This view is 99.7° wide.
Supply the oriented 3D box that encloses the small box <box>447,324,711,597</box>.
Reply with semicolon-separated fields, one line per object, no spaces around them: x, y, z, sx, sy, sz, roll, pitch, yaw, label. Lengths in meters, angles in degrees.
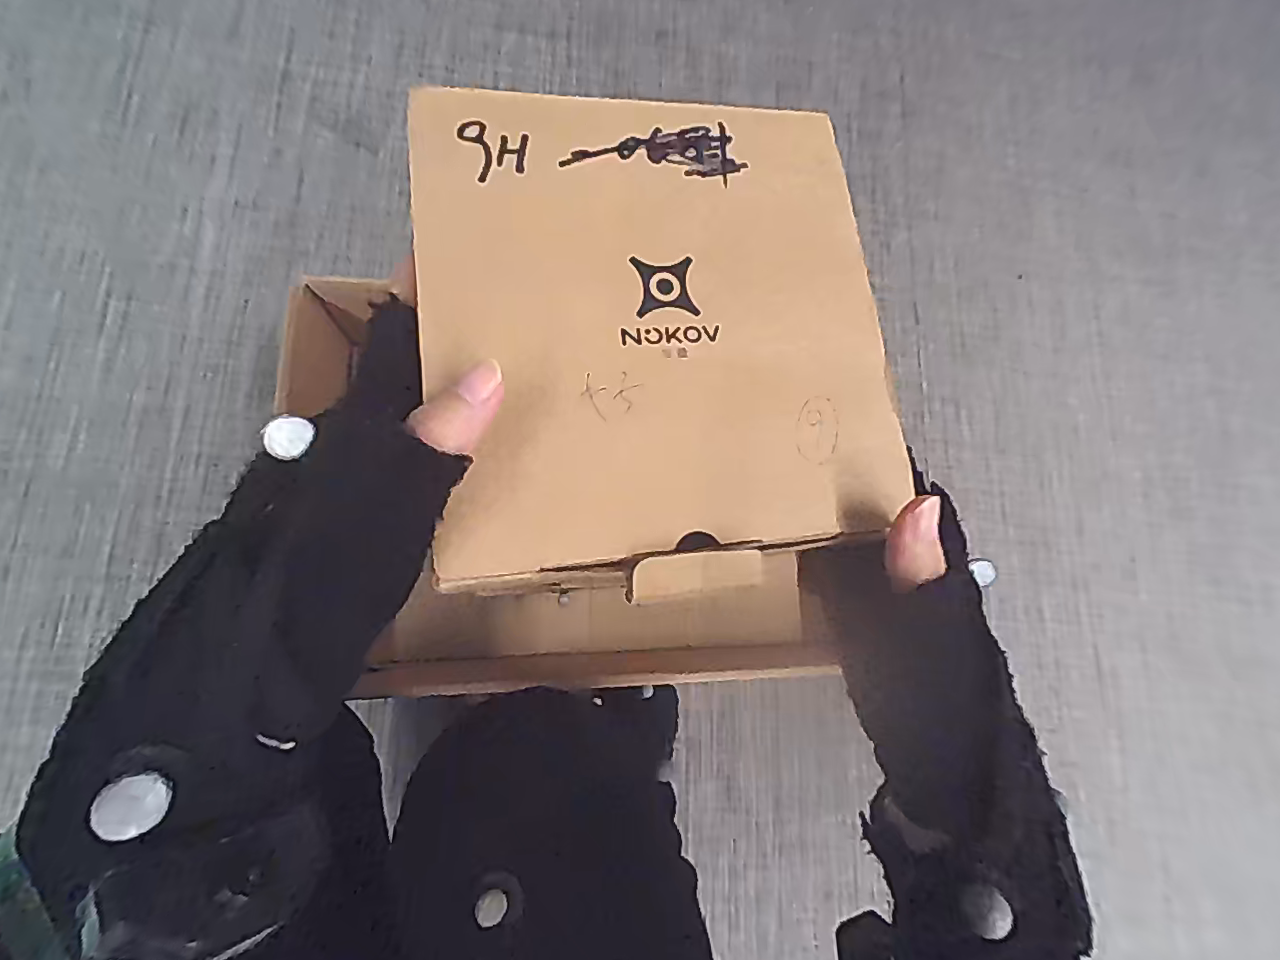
-0.050;0.000;0.426;0.168;0.176;0.179;0;77;-11;small box
